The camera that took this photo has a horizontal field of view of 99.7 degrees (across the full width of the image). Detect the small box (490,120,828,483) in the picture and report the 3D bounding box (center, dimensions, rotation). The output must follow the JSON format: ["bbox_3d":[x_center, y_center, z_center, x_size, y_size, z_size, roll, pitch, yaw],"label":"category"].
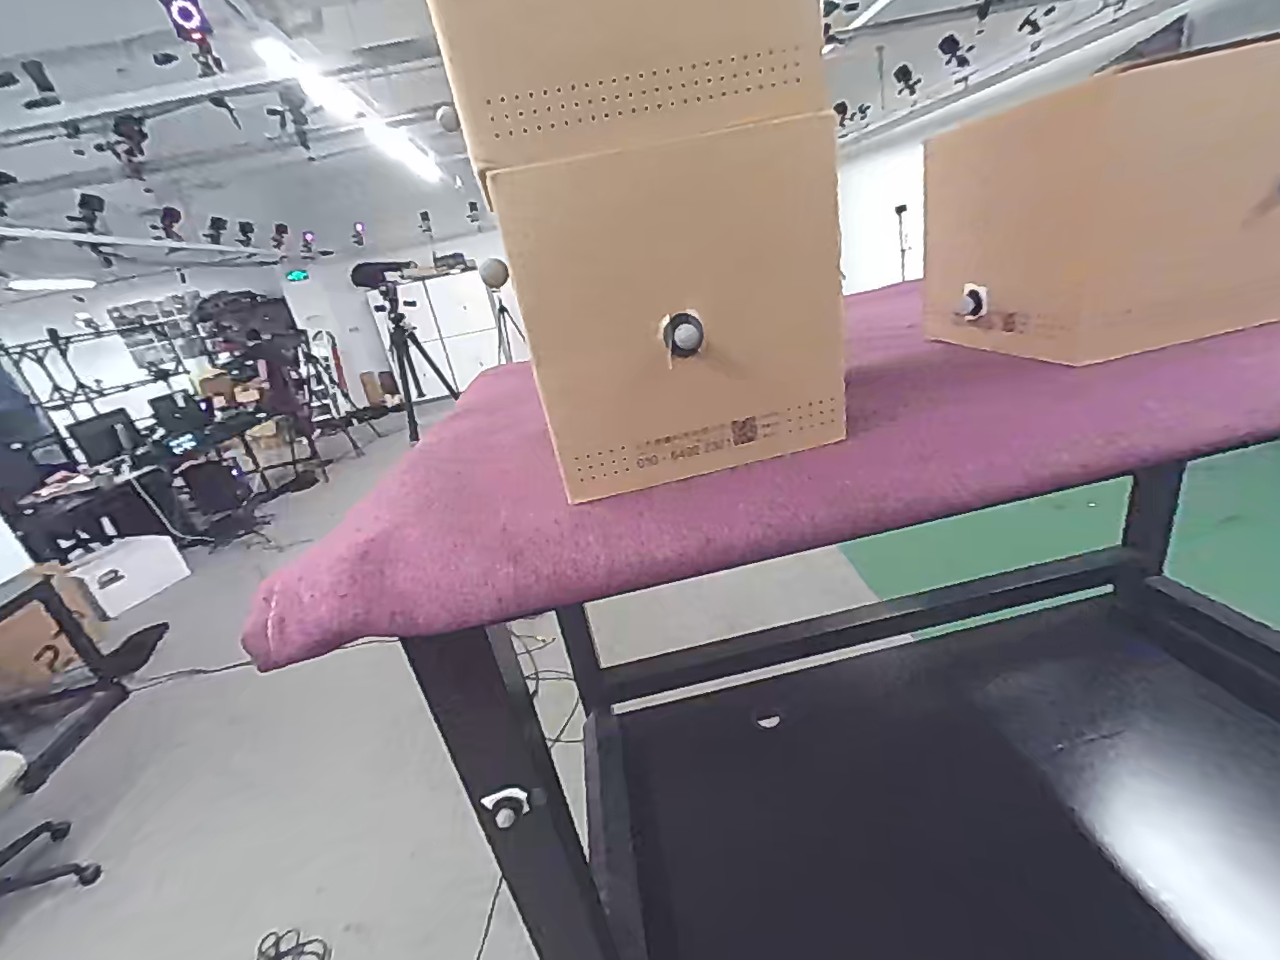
[{"bbox_3d":[0.011,-0.108,0.358,0.168,0.176,0.179,-12,22,-6],"label":"small box"}]

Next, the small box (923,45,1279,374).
[{"bbox_3d":[0.340,-0.190,0.407,0.179,0.176,0.168,-14,21,-4],"label":"small box"}]
